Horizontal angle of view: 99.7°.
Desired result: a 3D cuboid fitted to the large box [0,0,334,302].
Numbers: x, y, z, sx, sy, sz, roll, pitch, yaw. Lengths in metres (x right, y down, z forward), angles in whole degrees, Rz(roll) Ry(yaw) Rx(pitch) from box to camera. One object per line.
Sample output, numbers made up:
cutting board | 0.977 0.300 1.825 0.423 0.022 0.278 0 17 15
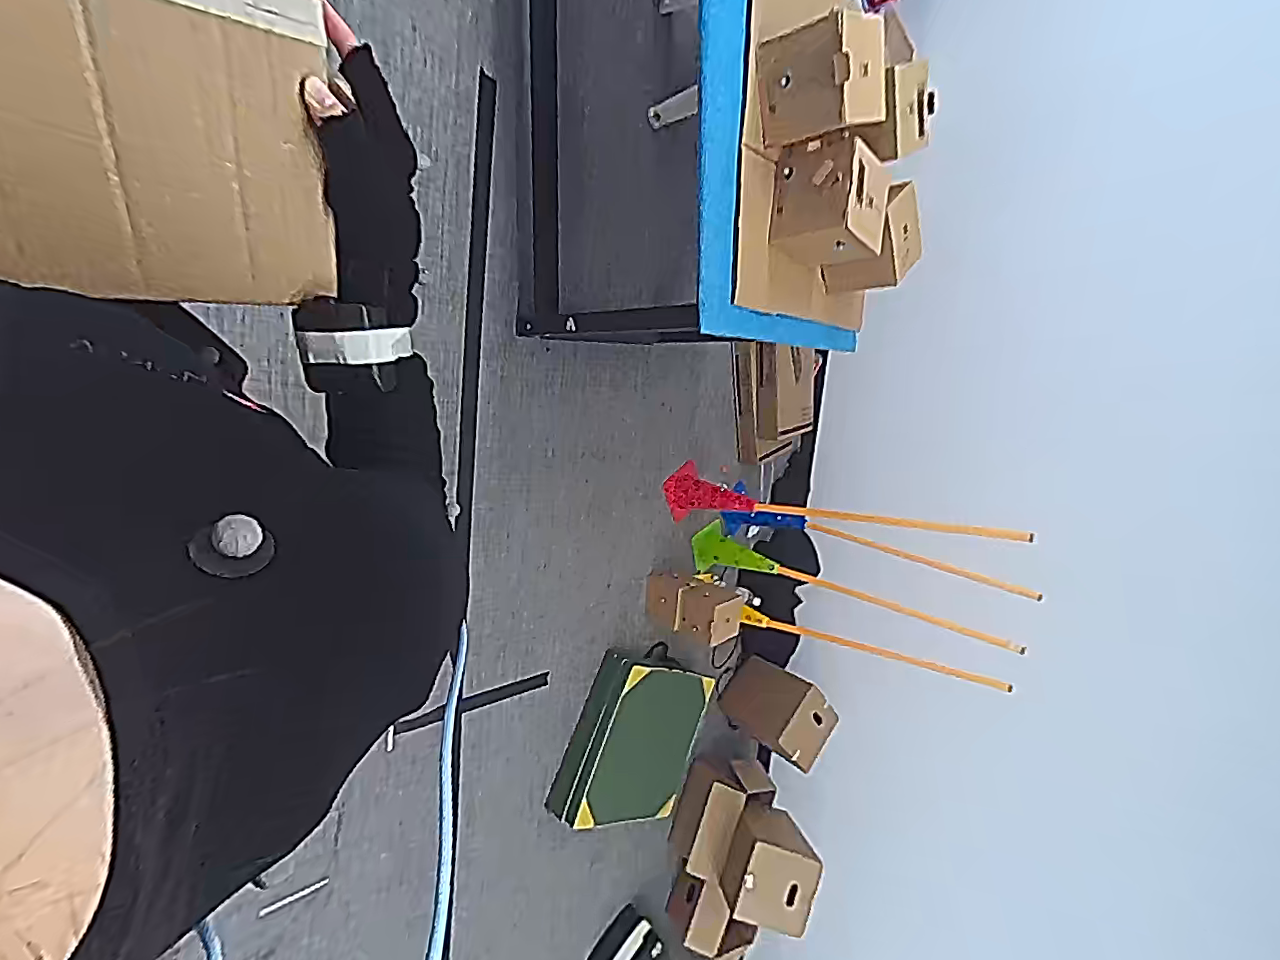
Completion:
large box | -0.433 -0.296 0.282 0.408 0.320 0.320 -13 130 -39
